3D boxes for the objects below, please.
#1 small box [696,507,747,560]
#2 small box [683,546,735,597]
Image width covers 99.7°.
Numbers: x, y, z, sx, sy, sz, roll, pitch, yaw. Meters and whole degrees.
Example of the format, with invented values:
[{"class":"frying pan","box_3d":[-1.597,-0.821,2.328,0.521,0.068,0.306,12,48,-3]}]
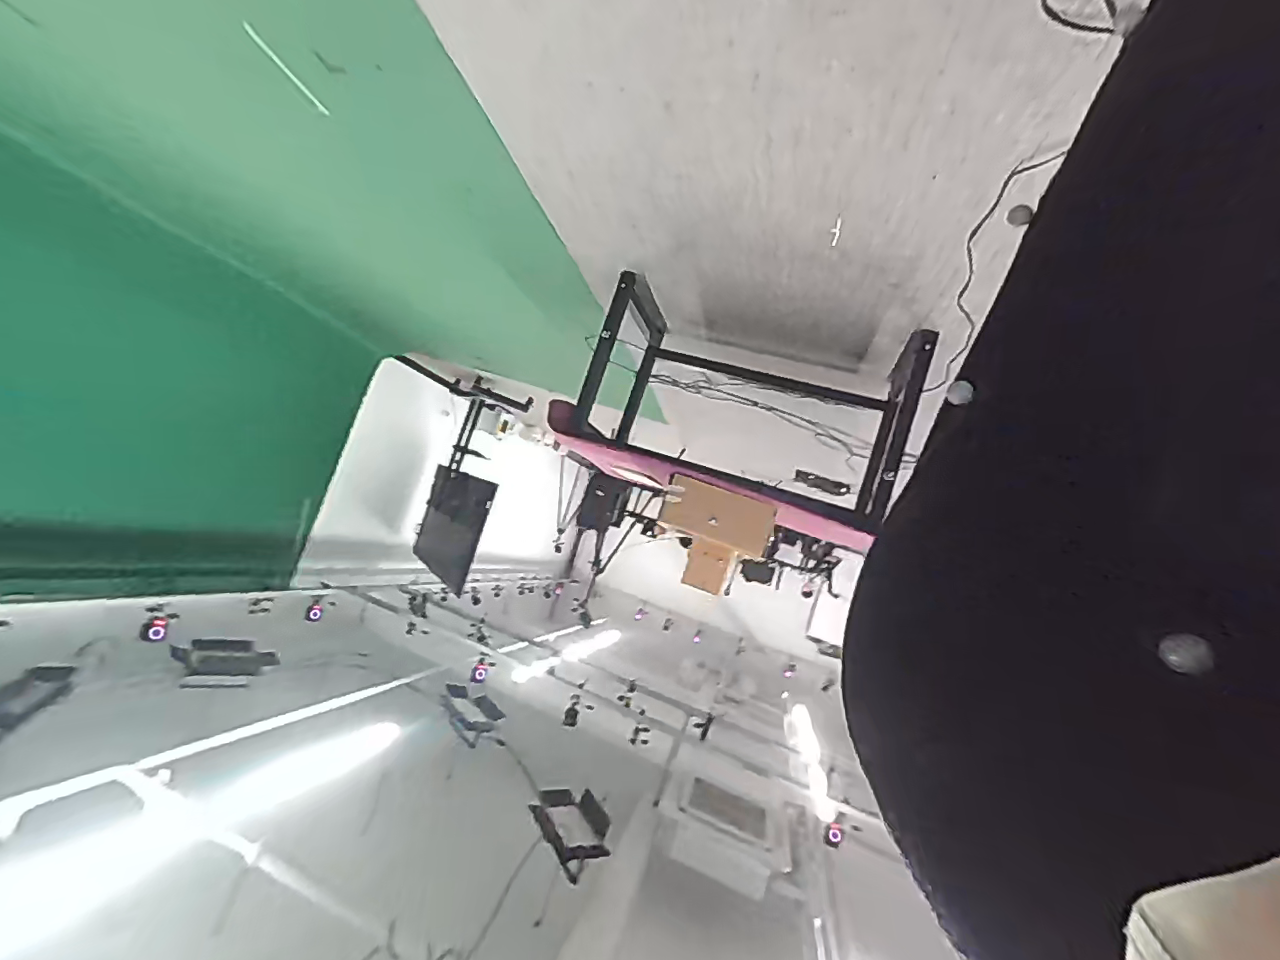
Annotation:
[{"class":"small box","box_3d":[0.347,0.227,2.275,0.168,0.176,0.179,19,173,16]},{"class":"small box","box_3d":[0.293,0.382,2.265,0.168,0.176,0.179,19,174,16]}]
